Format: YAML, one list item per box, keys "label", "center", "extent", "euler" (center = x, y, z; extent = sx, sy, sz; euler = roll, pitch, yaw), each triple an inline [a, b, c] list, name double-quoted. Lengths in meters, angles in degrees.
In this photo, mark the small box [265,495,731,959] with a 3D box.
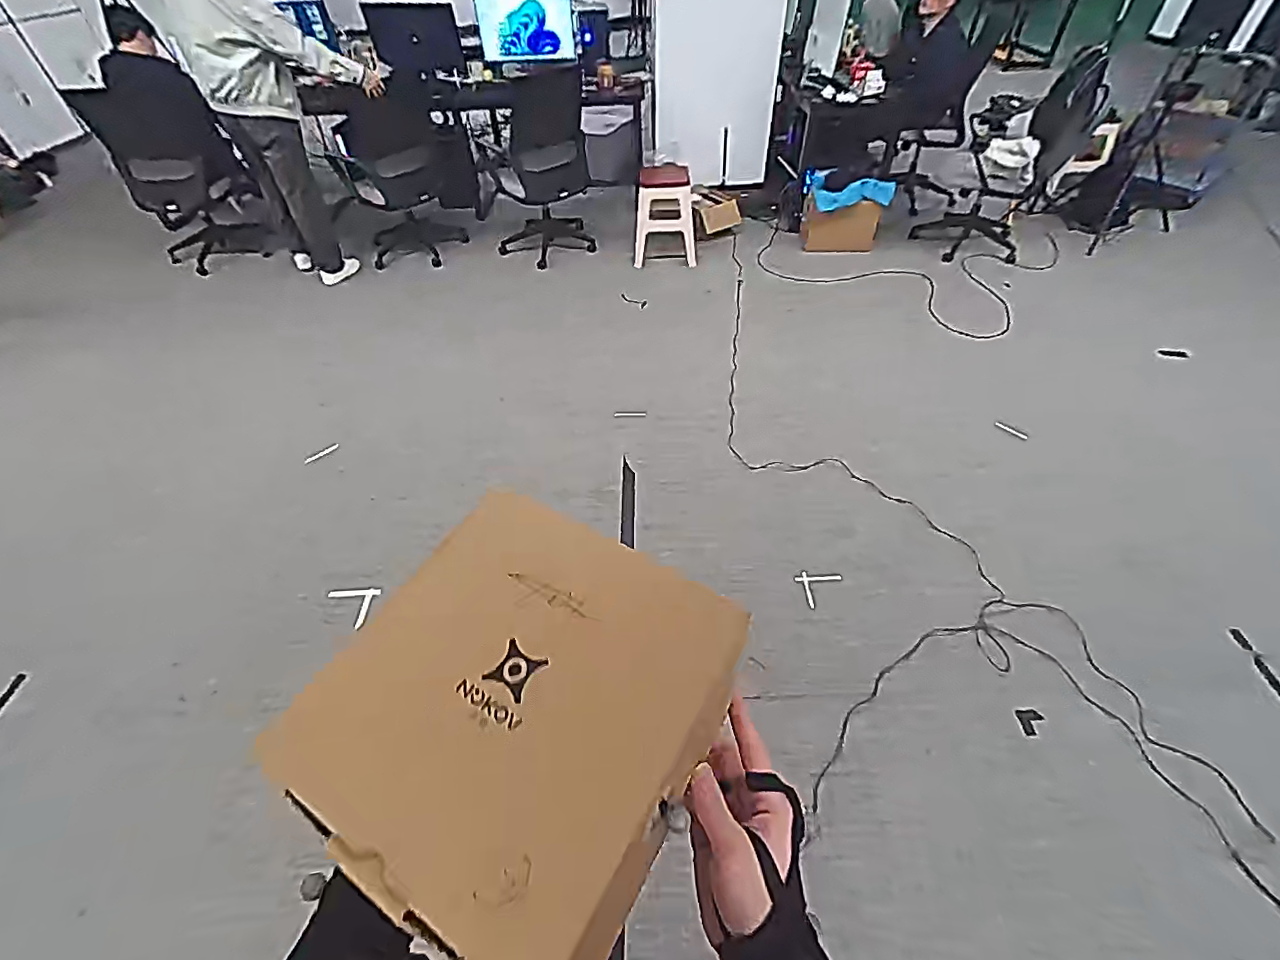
- label: "small box"
  center: [-0.058, 0.147, 0.325]
  extent: [0.168, 0.176, 0.179]
  euler: [23, 55, 22]
